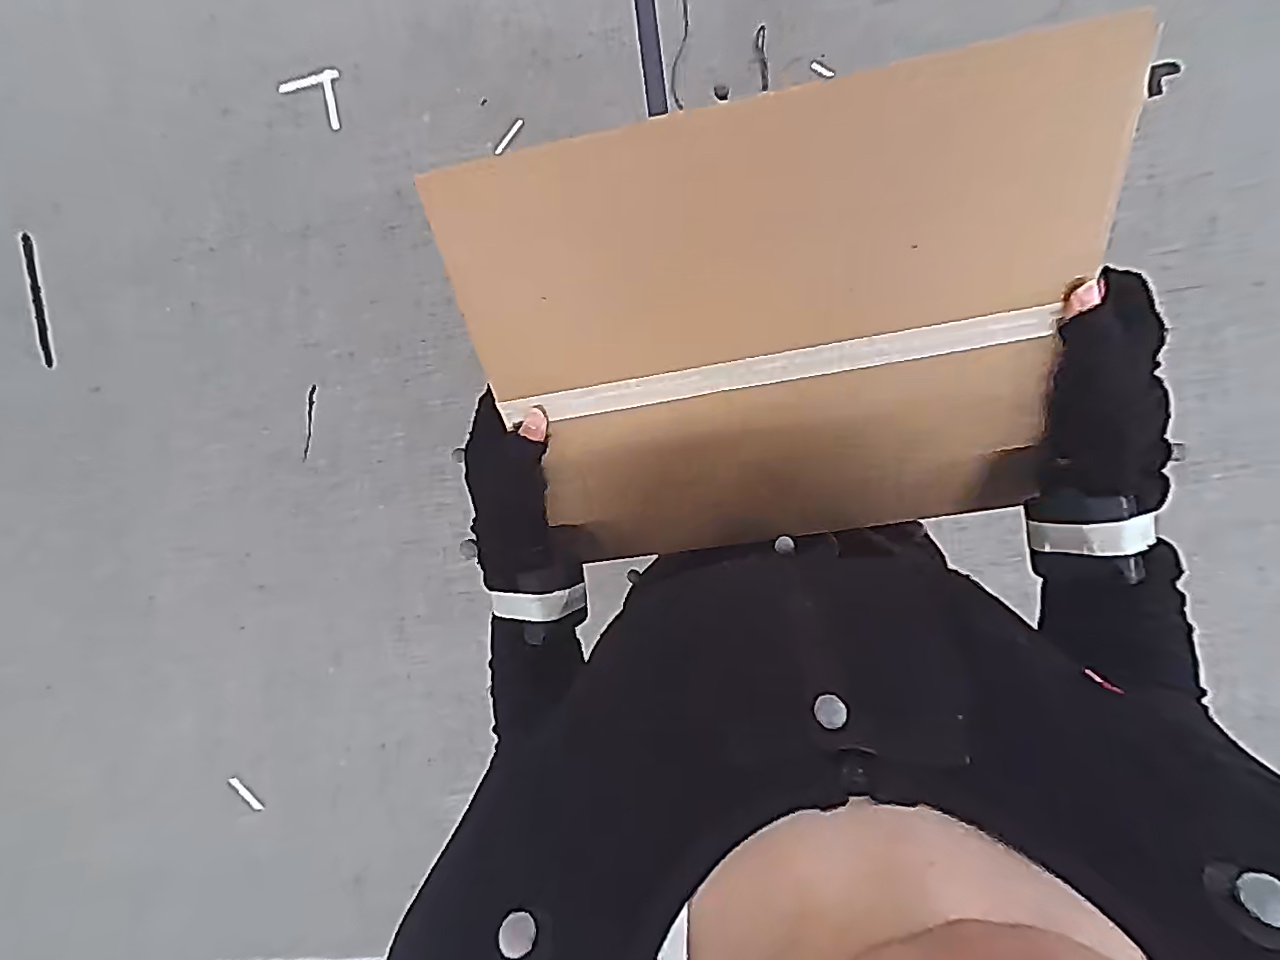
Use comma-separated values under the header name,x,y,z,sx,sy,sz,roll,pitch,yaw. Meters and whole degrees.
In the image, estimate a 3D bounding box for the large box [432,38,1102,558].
name,x,y,z,sx,sy,sz,roll,pitch,yaw
large box,0.093,-0.165,0.521,0.408,0.320,0.320,-9,122,7
